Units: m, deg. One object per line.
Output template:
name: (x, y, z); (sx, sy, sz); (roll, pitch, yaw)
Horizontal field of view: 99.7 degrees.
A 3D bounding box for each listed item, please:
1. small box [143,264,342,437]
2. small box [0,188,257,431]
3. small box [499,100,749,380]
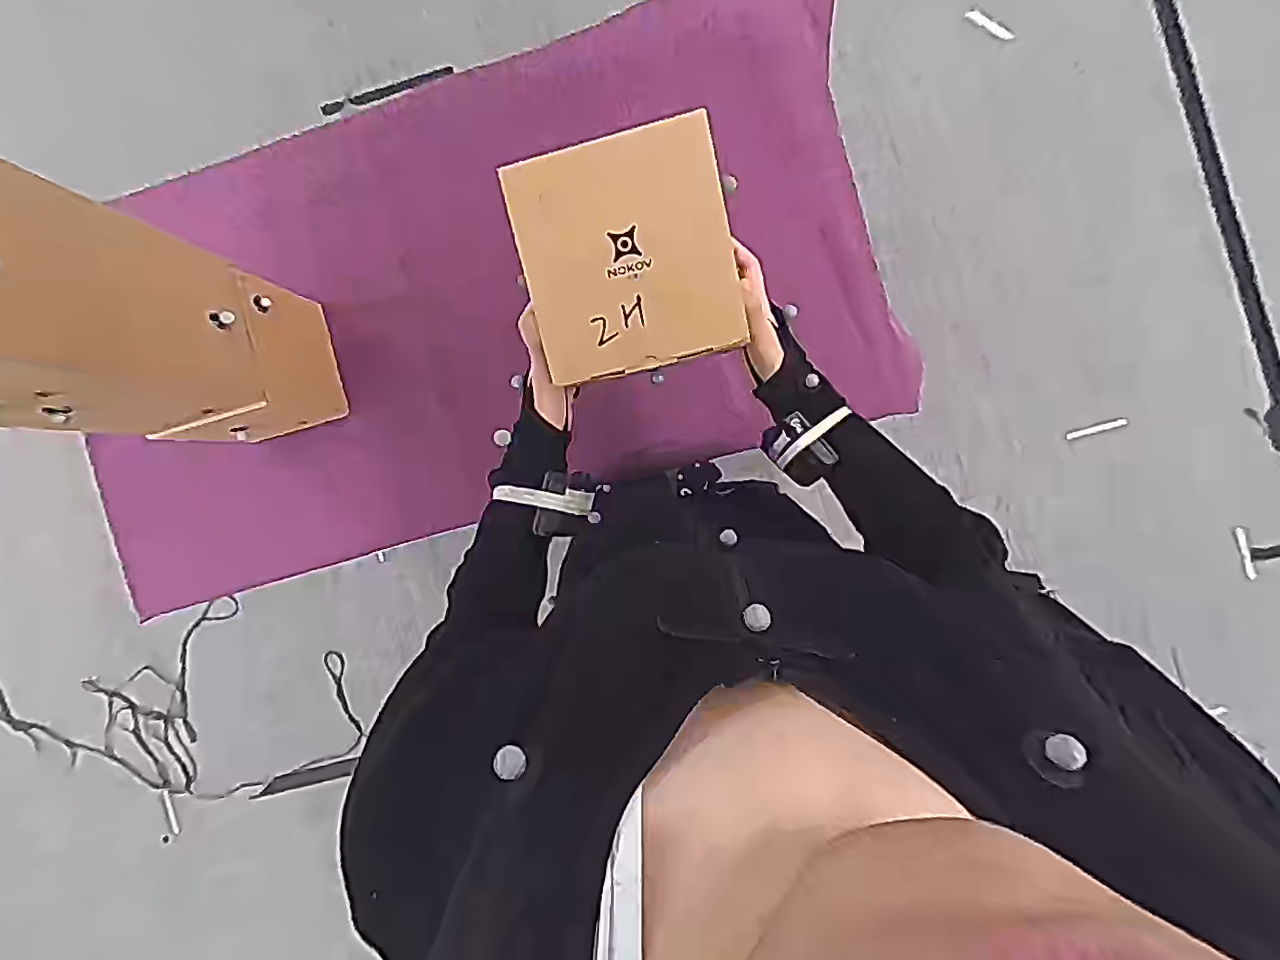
small box: (-0.541, -0.160, 0.732); (0.168, 0.176, 0.179); (-15, 90, 4)
small box: (-0.555, -0.160, 0.569); (0.168, 0.176, 0.179); (-16, 90, 5)
small box: (-0.006, -0.194, 0.495); (0.168, 0.176, 0.179); (-13, 99, 7)
